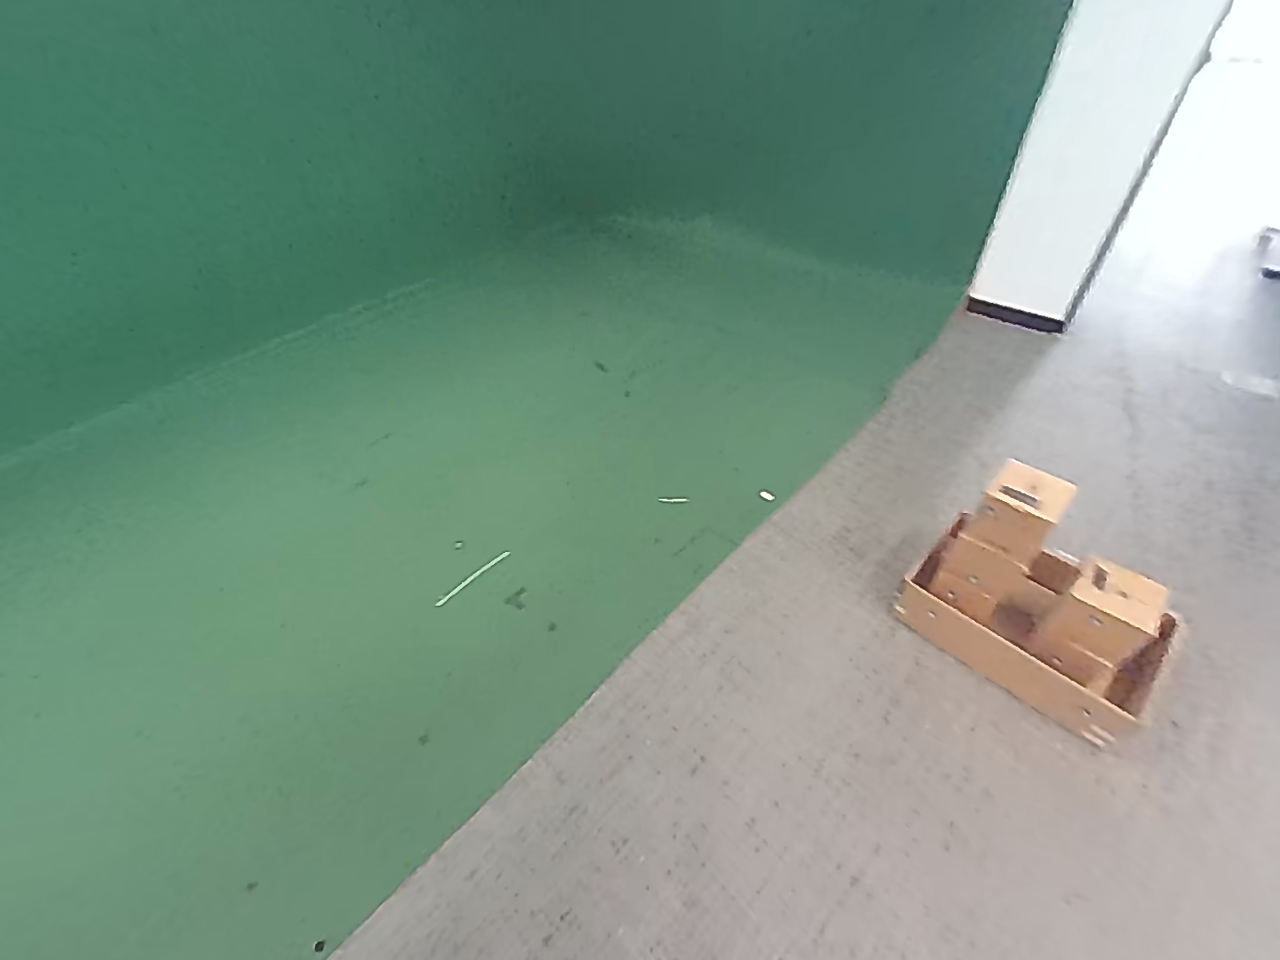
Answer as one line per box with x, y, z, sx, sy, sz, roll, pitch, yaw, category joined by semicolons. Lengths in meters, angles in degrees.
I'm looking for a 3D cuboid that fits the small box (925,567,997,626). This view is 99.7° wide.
1.012;0.317;1.671;0.179;0.176;0.168;-36;53;-28;small box

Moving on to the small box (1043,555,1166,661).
1.194;0.334;1.402;0.179;0.176;0.168;32;57;31;small box

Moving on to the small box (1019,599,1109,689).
1.209;0.450;1.519;0.179;0.176;0.168;-36;52;-26;small box

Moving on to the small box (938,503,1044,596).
1.000;0.205;1.552;0.179;0.176;0.168;34;57;31;small box
